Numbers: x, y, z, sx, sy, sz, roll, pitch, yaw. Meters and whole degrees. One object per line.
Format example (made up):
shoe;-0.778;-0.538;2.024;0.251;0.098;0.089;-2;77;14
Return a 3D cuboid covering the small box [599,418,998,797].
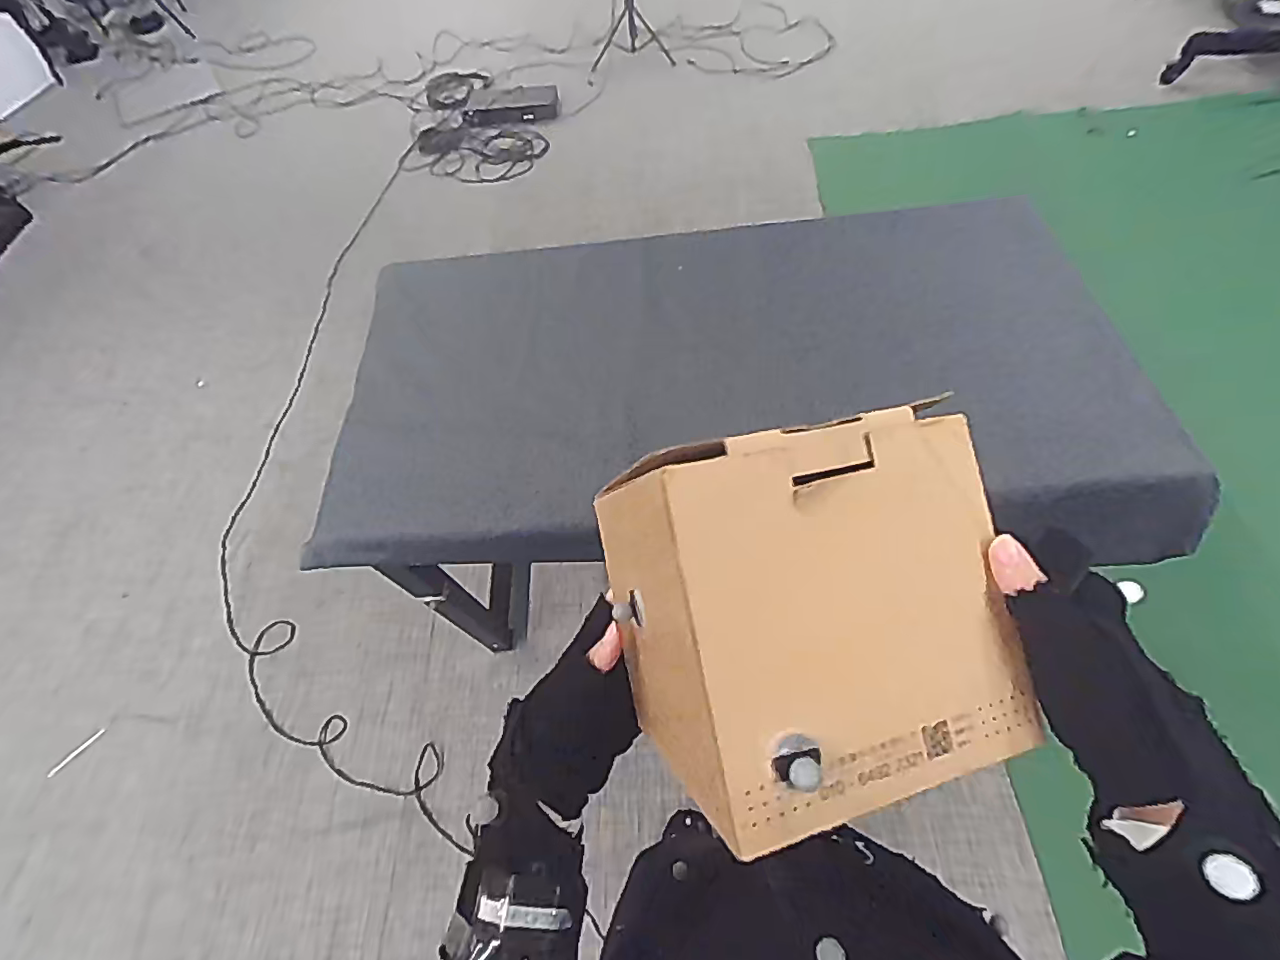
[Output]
small box;0.082;0.071;0.345;0.168;0.179;0.176;-10;85;-16
